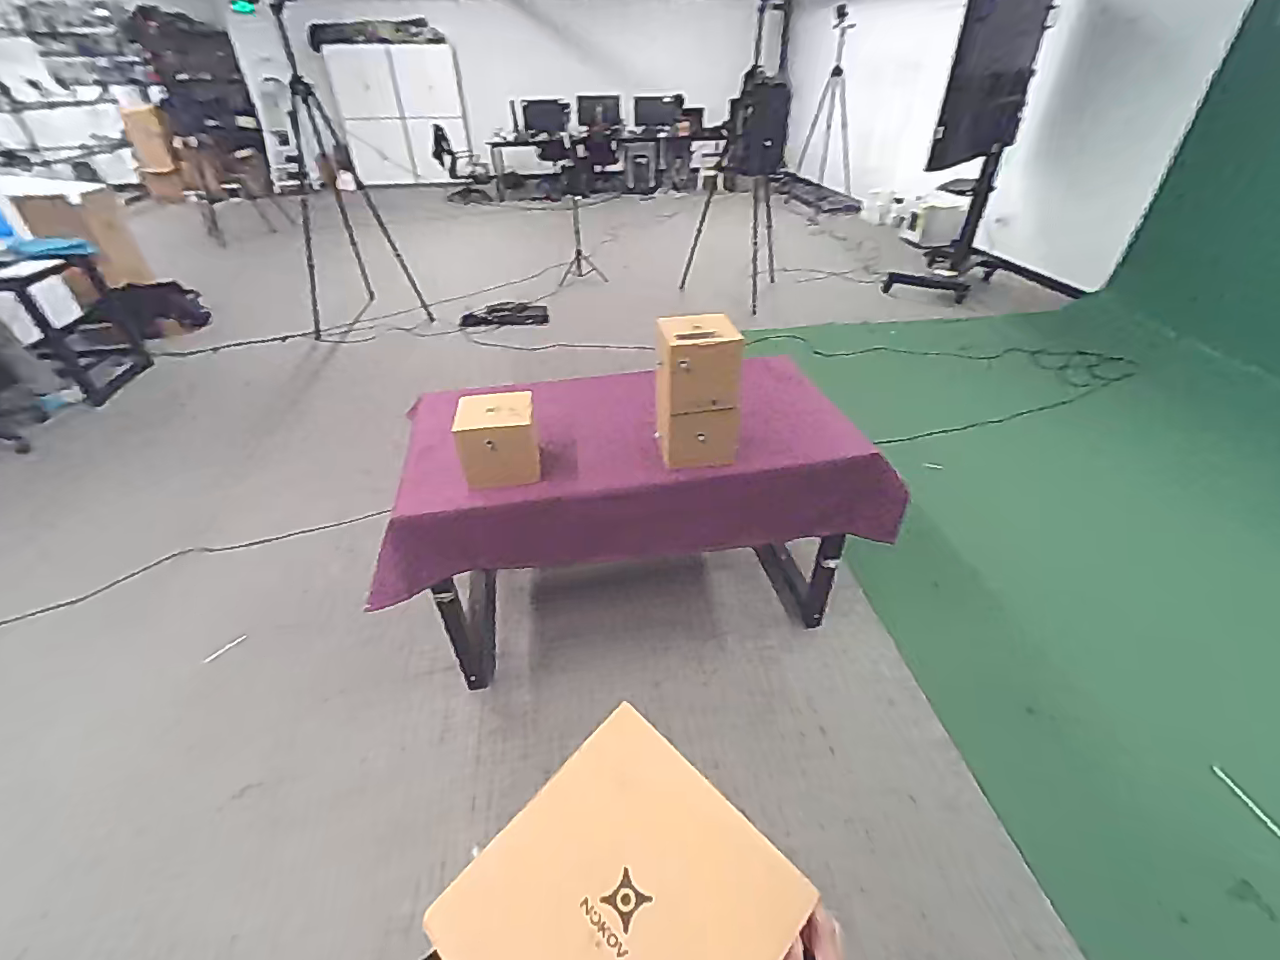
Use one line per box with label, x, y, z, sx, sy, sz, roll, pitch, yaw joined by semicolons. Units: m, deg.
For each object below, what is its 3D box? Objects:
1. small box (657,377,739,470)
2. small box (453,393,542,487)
small box;0.140;-0.143;1.372;0.179;0.176;0.168;-6;37;-5
small box;-0.341;-0.097;1.323;0.179;0.176;0.168;-5;37;-6
